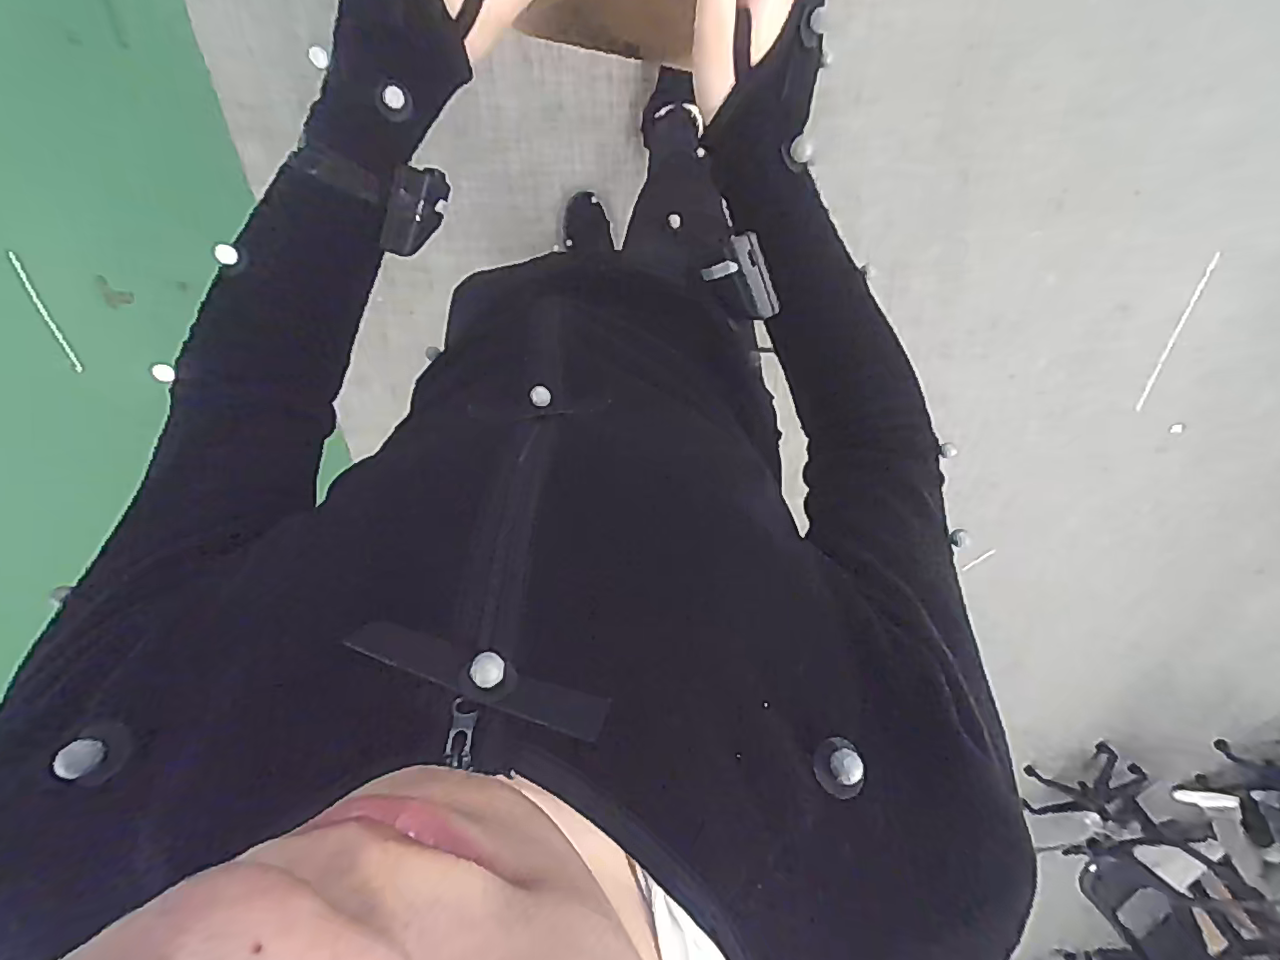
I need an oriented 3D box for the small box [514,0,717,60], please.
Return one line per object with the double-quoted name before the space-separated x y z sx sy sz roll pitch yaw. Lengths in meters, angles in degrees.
"small box" -0.011 -0.432 0.359 0.168 0.176 0.179 9 106 -5
